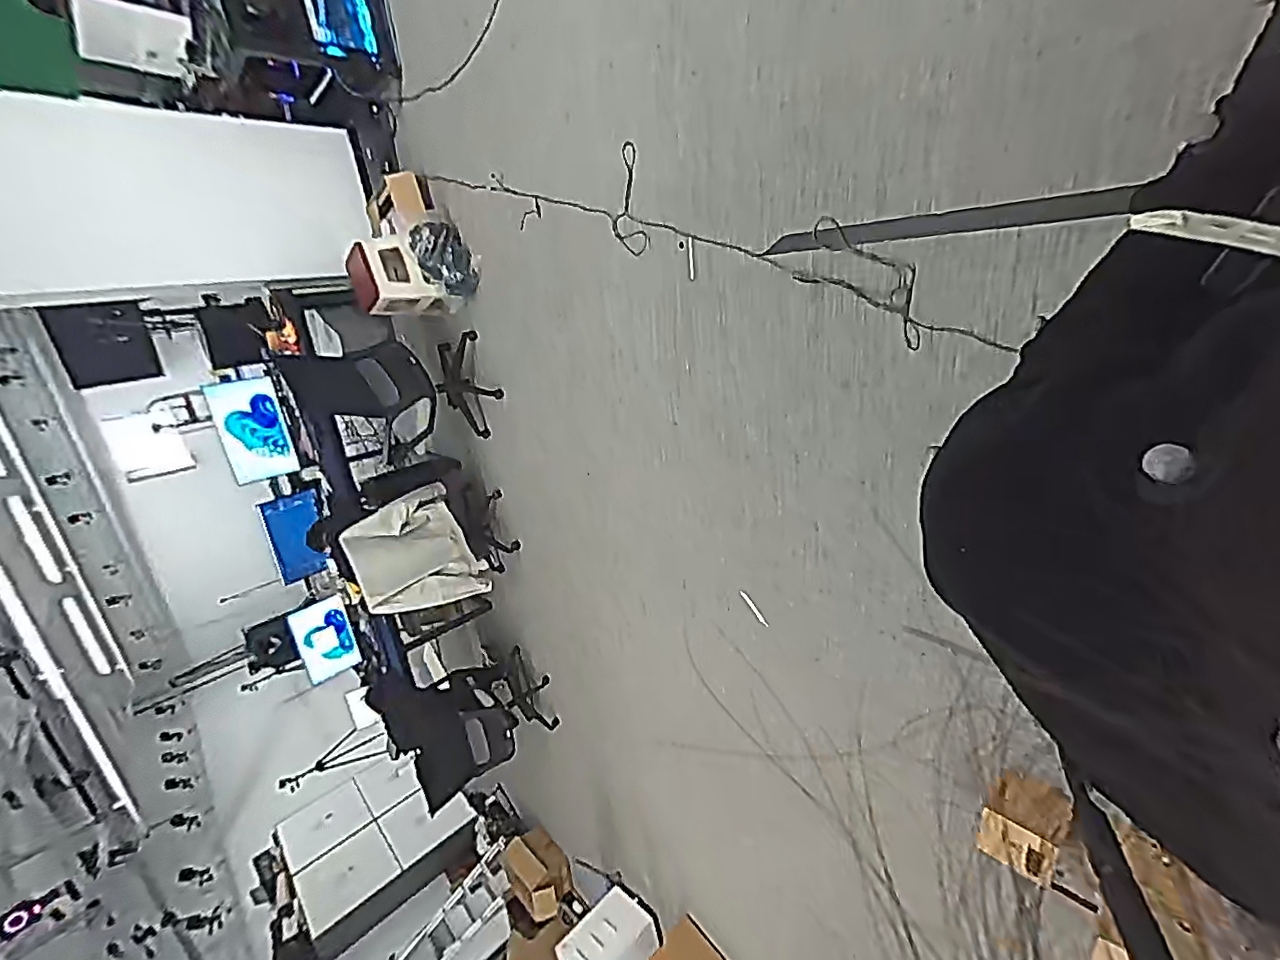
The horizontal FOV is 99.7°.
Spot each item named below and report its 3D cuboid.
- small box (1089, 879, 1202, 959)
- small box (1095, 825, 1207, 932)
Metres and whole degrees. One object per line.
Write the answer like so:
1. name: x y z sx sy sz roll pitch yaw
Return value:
1. small box: 1.143 1.071 1.227 0.168 0.176 0.179 14 119 45
2. small box: 1.257 1.010 1.329 0.168 0.176 0.179 17 120 42
